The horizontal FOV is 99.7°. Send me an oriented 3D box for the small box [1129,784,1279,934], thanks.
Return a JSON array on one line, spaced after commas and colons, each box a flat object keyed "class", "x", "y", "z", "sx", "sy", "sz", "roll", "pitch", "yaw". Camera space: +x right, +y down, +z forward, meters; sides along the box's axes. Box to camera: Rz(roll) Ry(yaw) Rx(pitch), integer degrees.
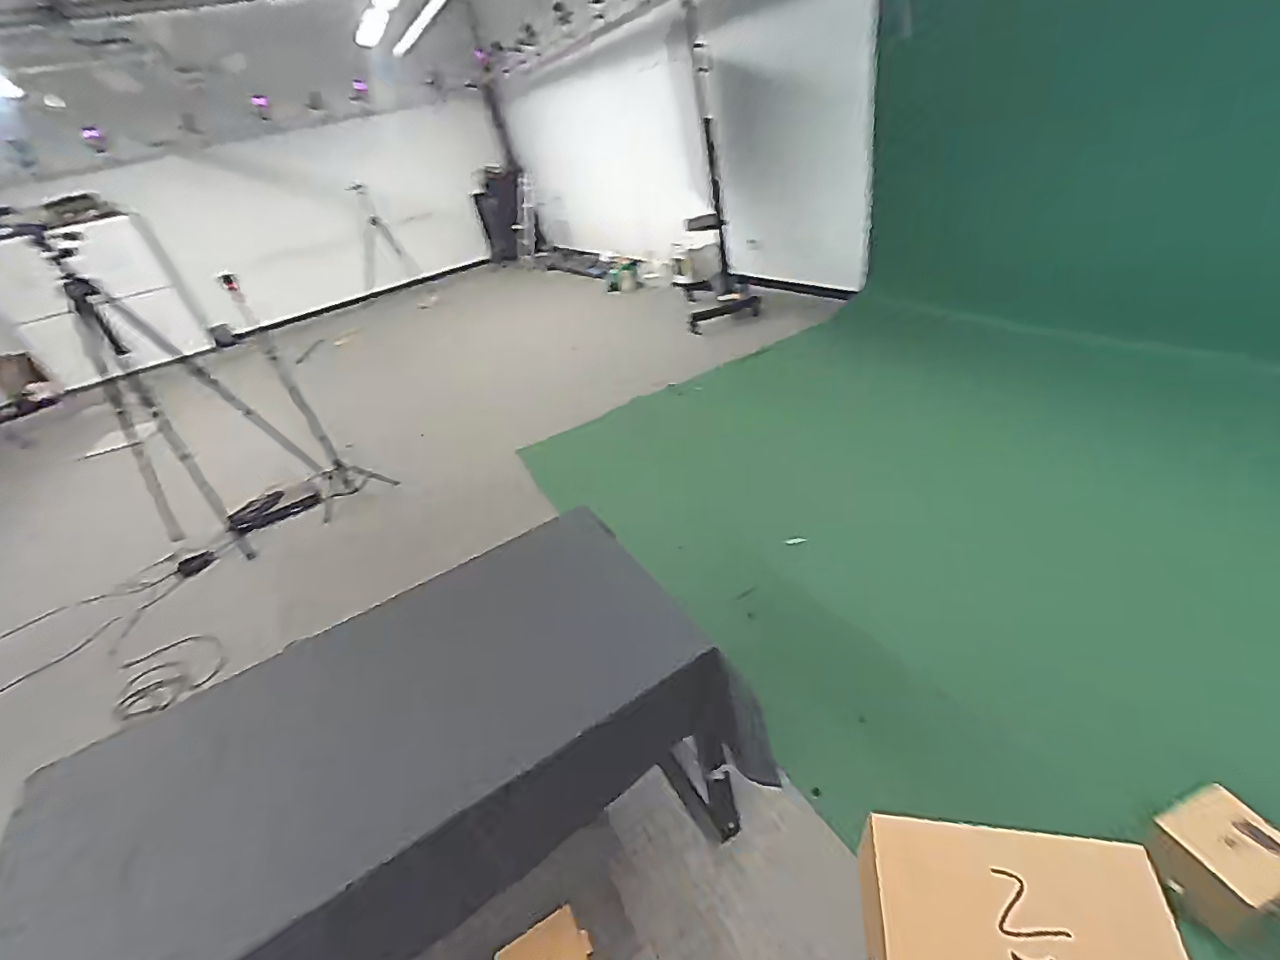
[{"class": "small box", "x": 1.161, "y": 0.772, "z": 1.104, "sx": 0.179, "sy": 0.176, "sz": 0.168, "roll": -20, "pitch": 33, "yaw": -10}]
